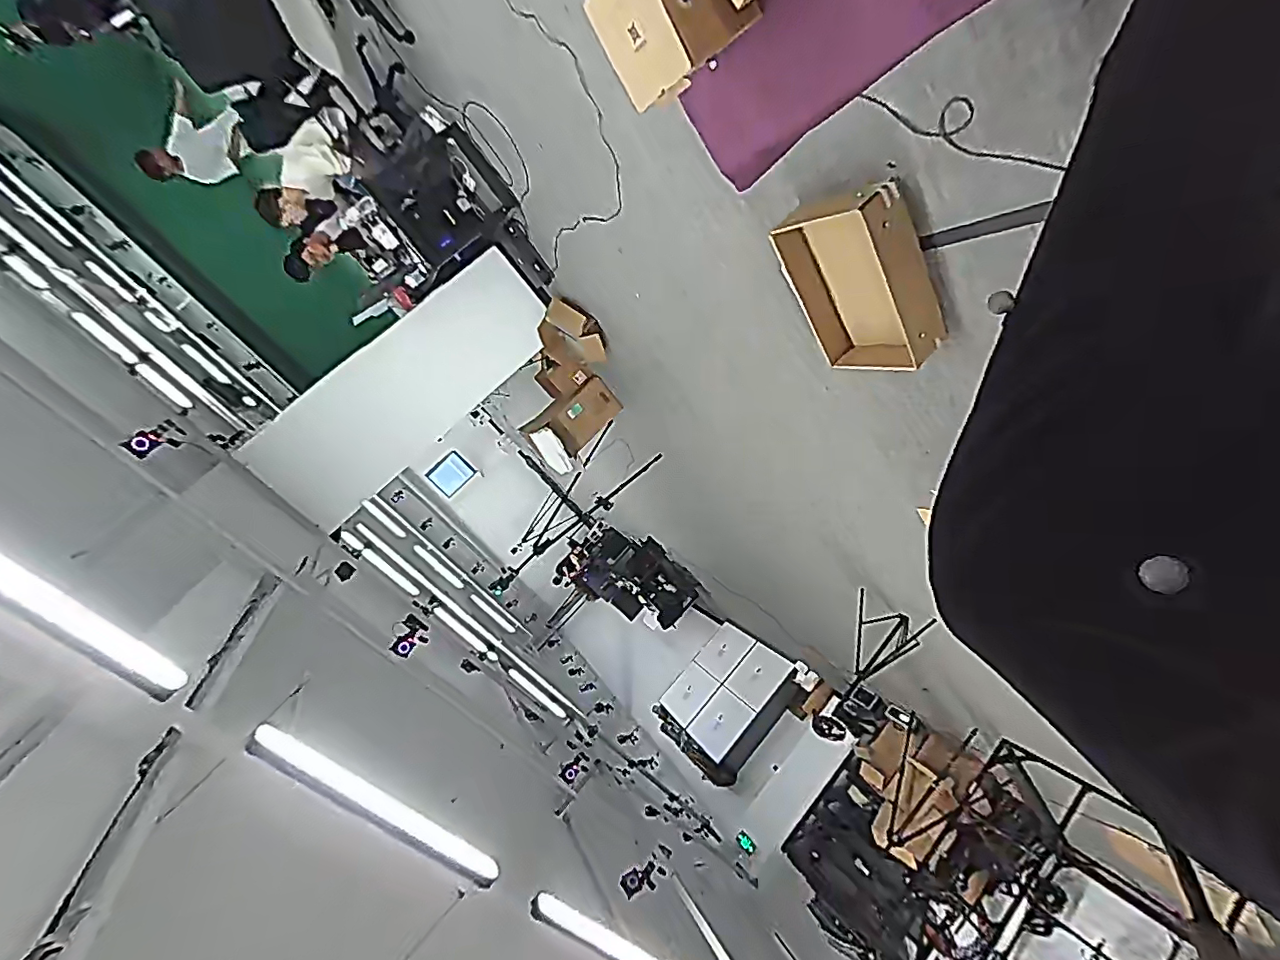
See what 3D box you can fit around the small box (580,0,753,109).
[{"bbox_3d":[0.045,-0.740,0.845,0.179,0.176,0.168,52,164,-27],"label":"small box"}]
